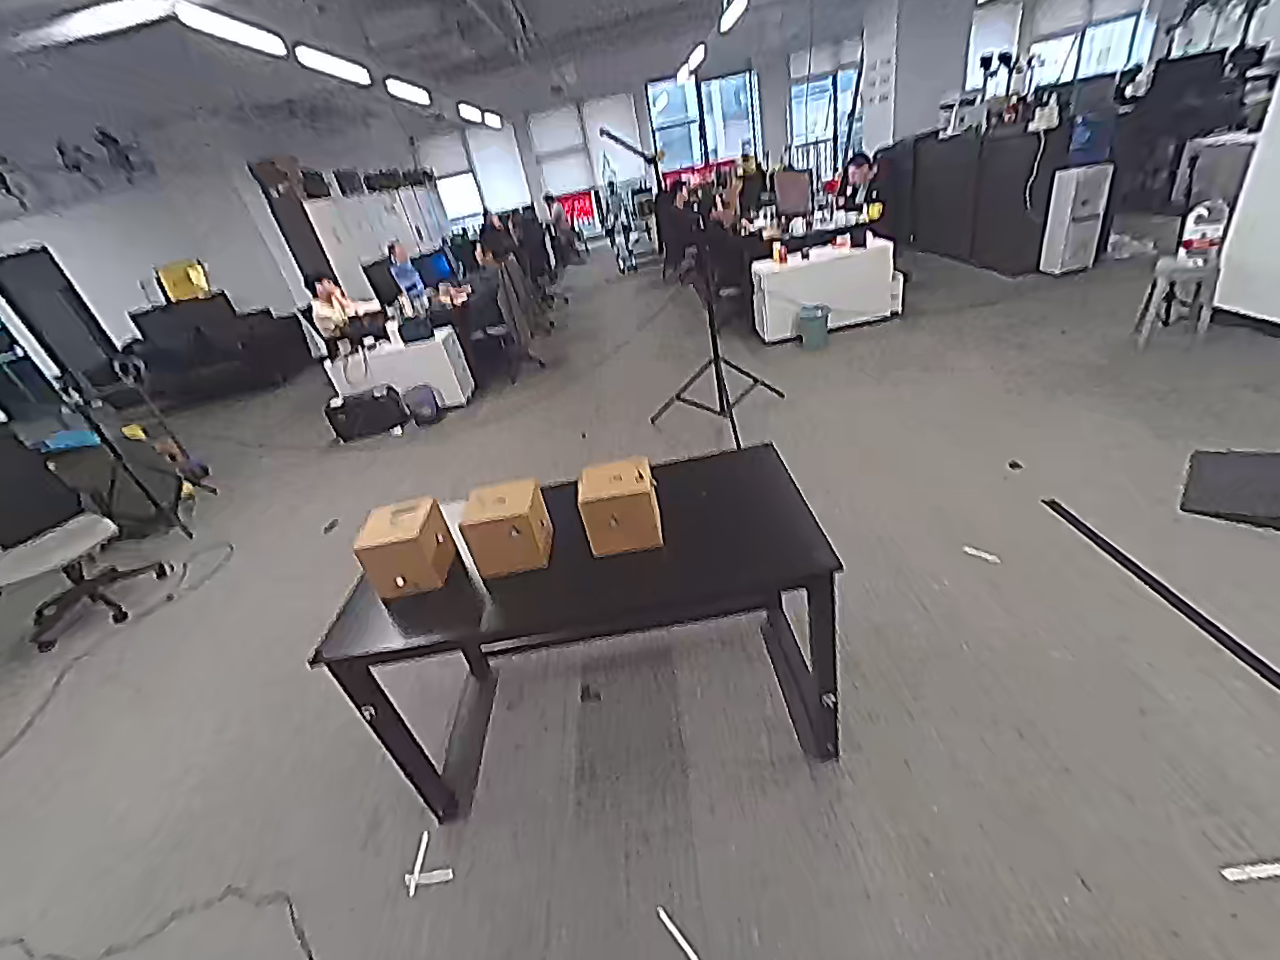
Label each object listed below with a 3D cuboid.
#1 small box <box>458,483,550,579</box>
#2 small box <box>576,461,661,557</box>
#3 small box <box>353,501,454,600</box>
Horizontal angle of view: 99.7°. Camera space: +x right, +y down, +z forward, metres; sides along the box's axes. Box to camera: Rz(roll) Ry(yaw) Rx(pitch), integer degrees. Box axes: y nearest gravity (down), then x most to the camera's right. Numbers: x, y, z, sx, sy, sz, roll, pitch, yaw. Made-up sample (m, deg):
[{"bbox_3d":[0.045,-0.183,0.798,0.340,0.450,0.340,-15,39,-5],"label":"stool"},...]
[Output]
[{"bbox_3d":[-0.338,0.131,1.388,0.179,0.176,0.168,-11,29,3],"label":"small box"},{"bbox_3d":[-0.050,0.077,1.373,0.179,0.176,0.168,-11,30,5],"label":"small box"},{"bbox_3d":[-0.599,0.183,1.401,0.168,0.176,0.179,-12,31,2],"label":"small box"}]
